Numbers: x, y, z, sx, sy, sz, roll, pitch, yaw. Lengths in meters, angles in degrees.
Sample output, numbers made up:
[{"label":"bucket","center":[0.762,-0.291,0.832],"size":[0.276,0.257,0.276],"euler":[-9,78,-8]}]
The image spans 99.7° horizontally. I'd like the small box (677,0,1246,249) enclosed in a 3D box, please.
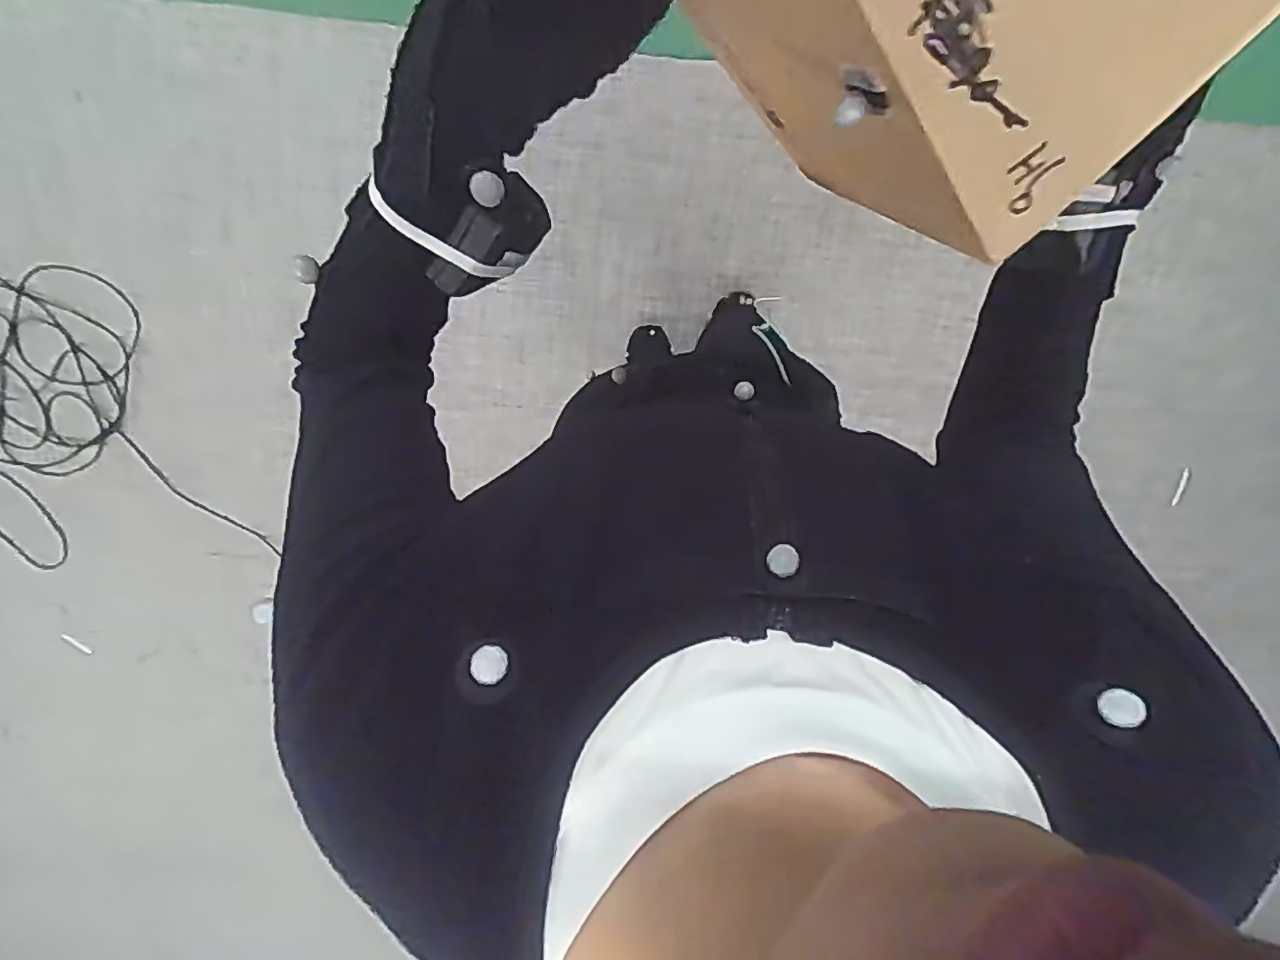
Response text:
[{"label":"small box","center":[0.133,-0.246,0.233],"size":[0.168,0.176,0.179],"euler":[28,116,-37]}]
